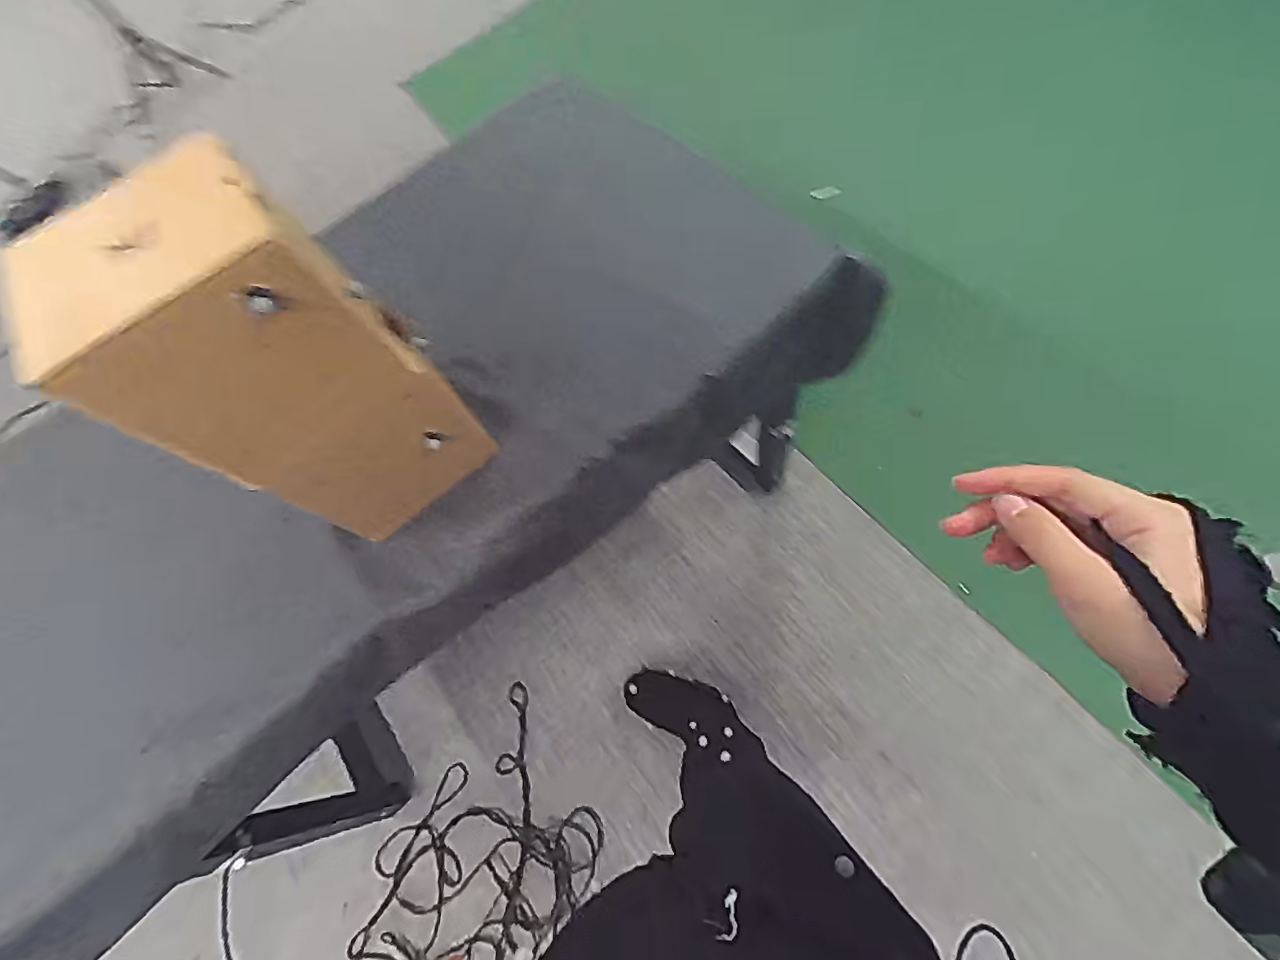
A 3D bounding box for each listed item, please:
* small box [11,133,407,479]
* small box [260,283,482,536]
[{"bbox_3d":[-0.336,-0.130,0.447,0.179,0.176,0.168,-38,64,-7],"label":"small box"},{"bbox_3d":[-0.299,-0.069,0.593,0.179,0.176,0.168,-40,65,-7],"label":"small box"}]
